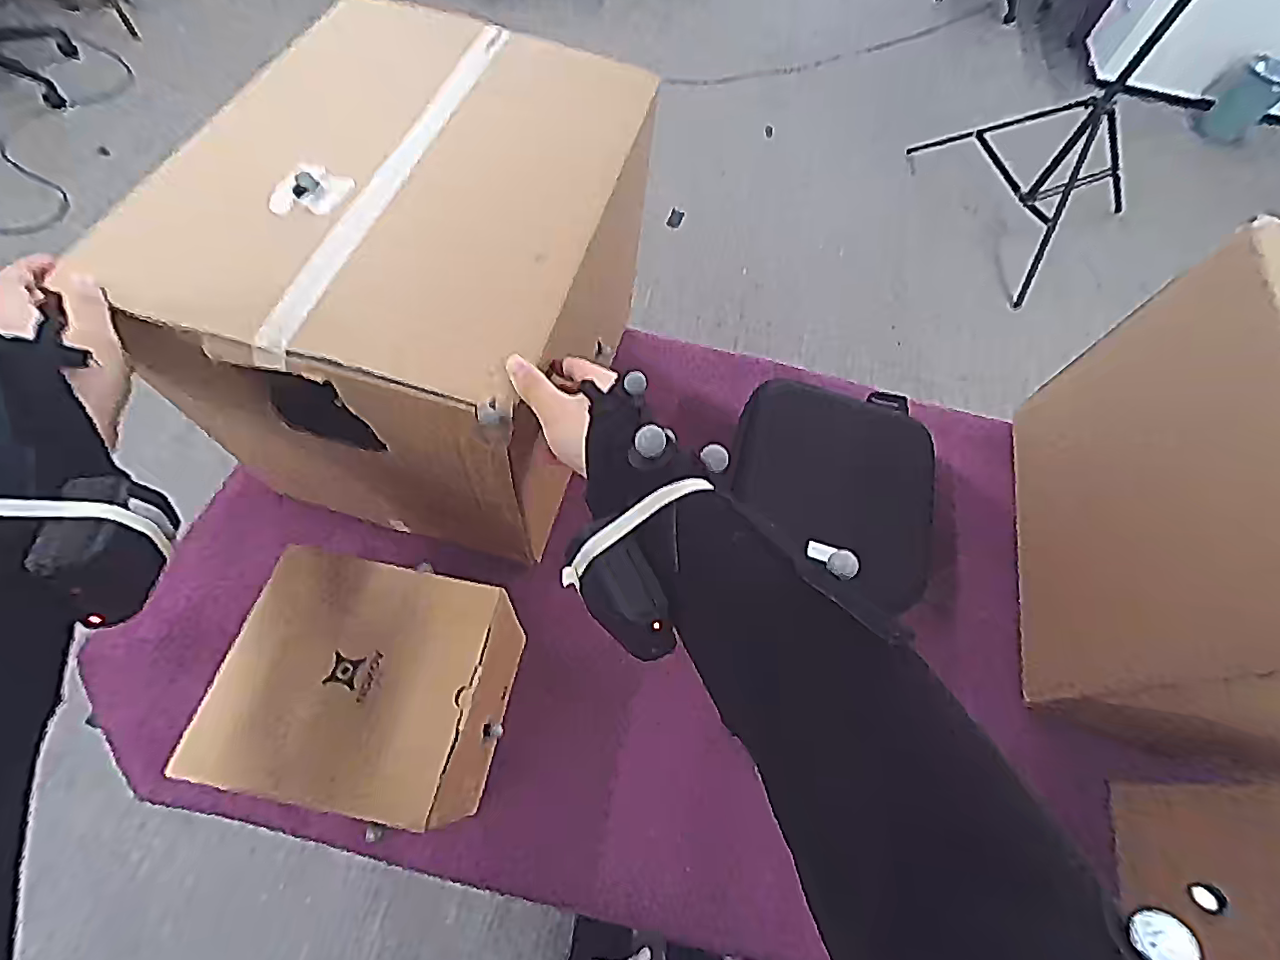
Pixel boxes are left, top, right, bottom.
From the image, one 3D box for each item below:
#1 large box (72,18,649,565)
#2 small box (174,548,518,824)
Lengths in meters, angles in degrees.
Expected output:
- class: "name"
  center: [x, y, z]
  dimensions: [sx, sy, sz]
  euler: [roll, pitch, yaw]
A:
- class: "large box"
  center: [-0.196, -0.173, 0.568]
  dimensions: [0.320, 0.320, 0.408]
  euler: [15, 64, 1]
- class: "small box"
  center: [-0.215, 0.178, 0.459]
  dimensions: [0.179, 0.176, 0.168]
  euler: [12, 60, -1]
